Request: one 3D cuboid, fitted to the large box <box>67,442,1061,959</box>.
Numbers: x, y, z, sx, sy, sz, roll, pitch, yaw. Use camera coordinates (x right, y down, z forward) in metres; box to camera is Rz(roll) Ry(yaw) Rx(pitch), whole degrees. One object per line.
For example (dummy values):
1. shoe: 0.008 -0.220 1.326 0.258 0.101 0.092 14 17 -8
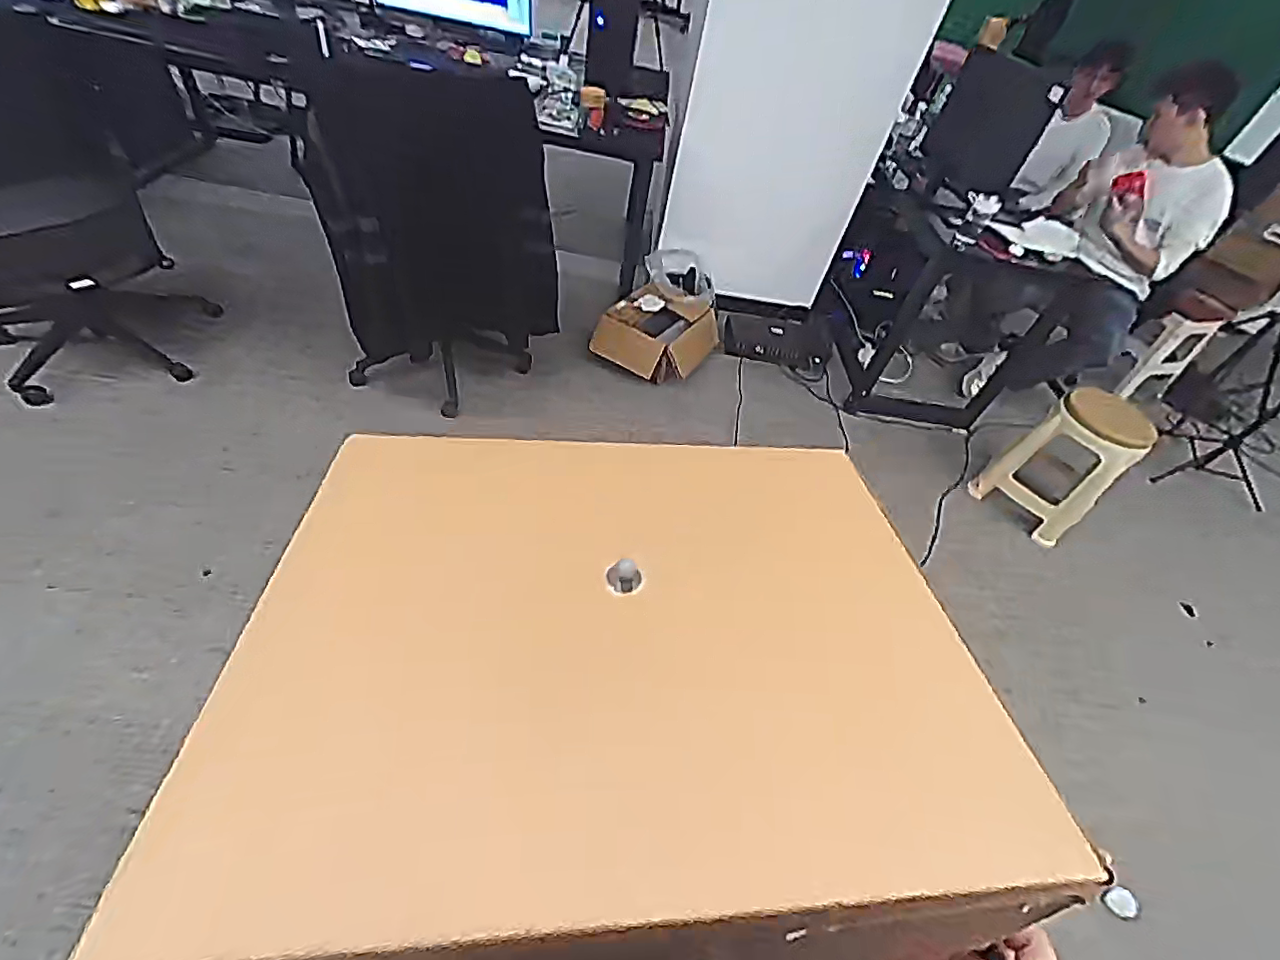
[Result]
1. large box: -0.038 0.183 0.419 0.408 0.320 0.320 -1 42 -8
